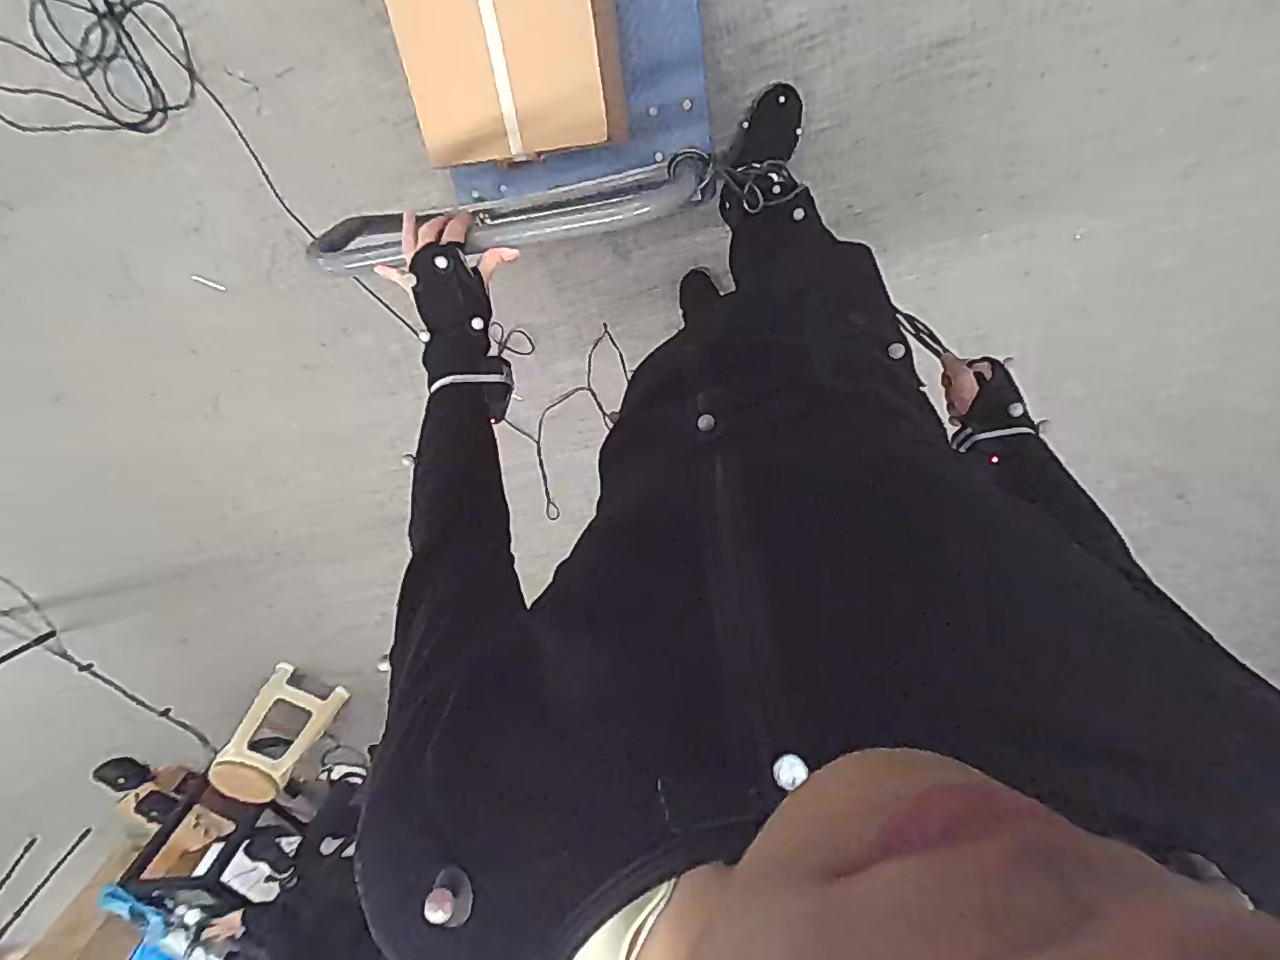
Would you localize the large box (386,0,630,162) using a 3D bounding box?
[{"bbox_3d":[-0.210,-0.790,0.911,0.320,0.320,0.408,-3,121,8],"label":"large box"}]
